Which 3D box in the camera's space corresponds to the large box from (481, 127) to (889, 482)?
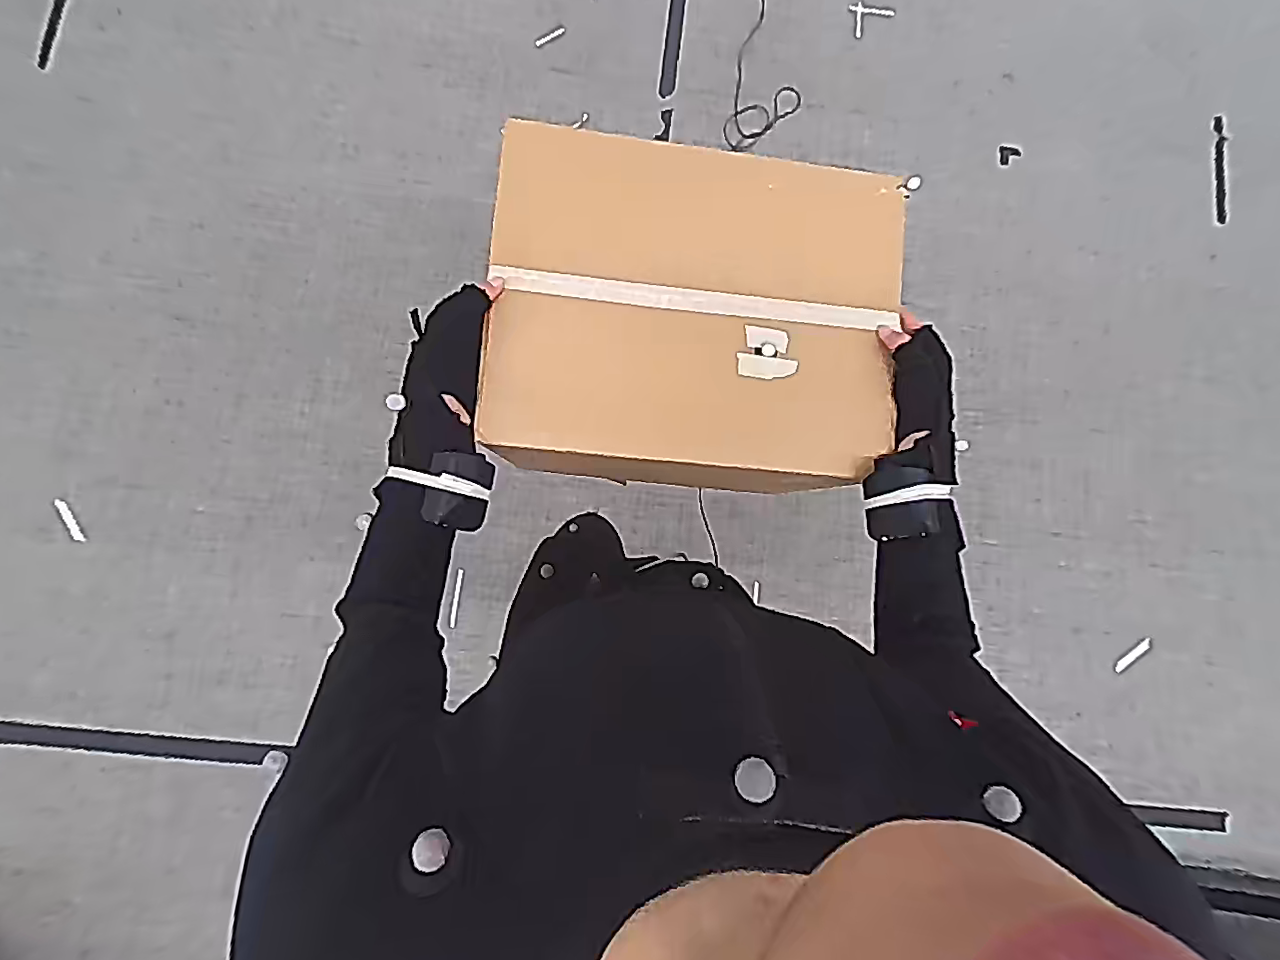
[{"bbox_3d":[0.038,-0.171,0.687,0.408,0.320,0.320,6,87,-6],"label":"large box"}]
